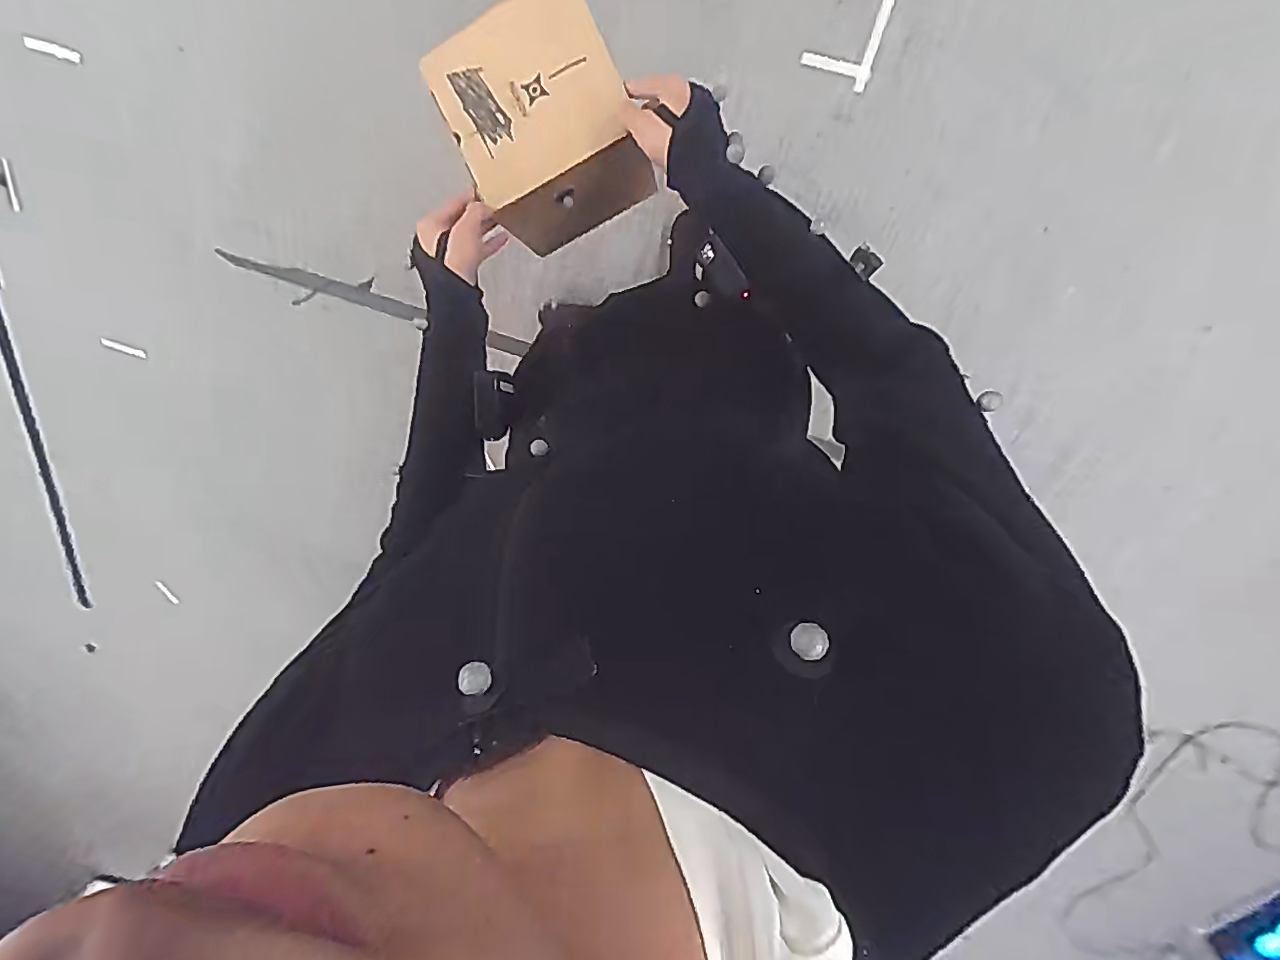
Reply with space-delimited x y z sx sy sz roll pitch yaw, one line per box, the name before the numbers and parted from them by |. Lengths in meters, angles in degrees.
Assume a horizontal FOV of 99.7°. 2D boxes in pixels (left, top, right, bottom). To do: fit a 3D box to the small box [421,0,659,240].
small box | -0.091 -0.391 0.588 0.179 0.176 0.168 -24 96 10
